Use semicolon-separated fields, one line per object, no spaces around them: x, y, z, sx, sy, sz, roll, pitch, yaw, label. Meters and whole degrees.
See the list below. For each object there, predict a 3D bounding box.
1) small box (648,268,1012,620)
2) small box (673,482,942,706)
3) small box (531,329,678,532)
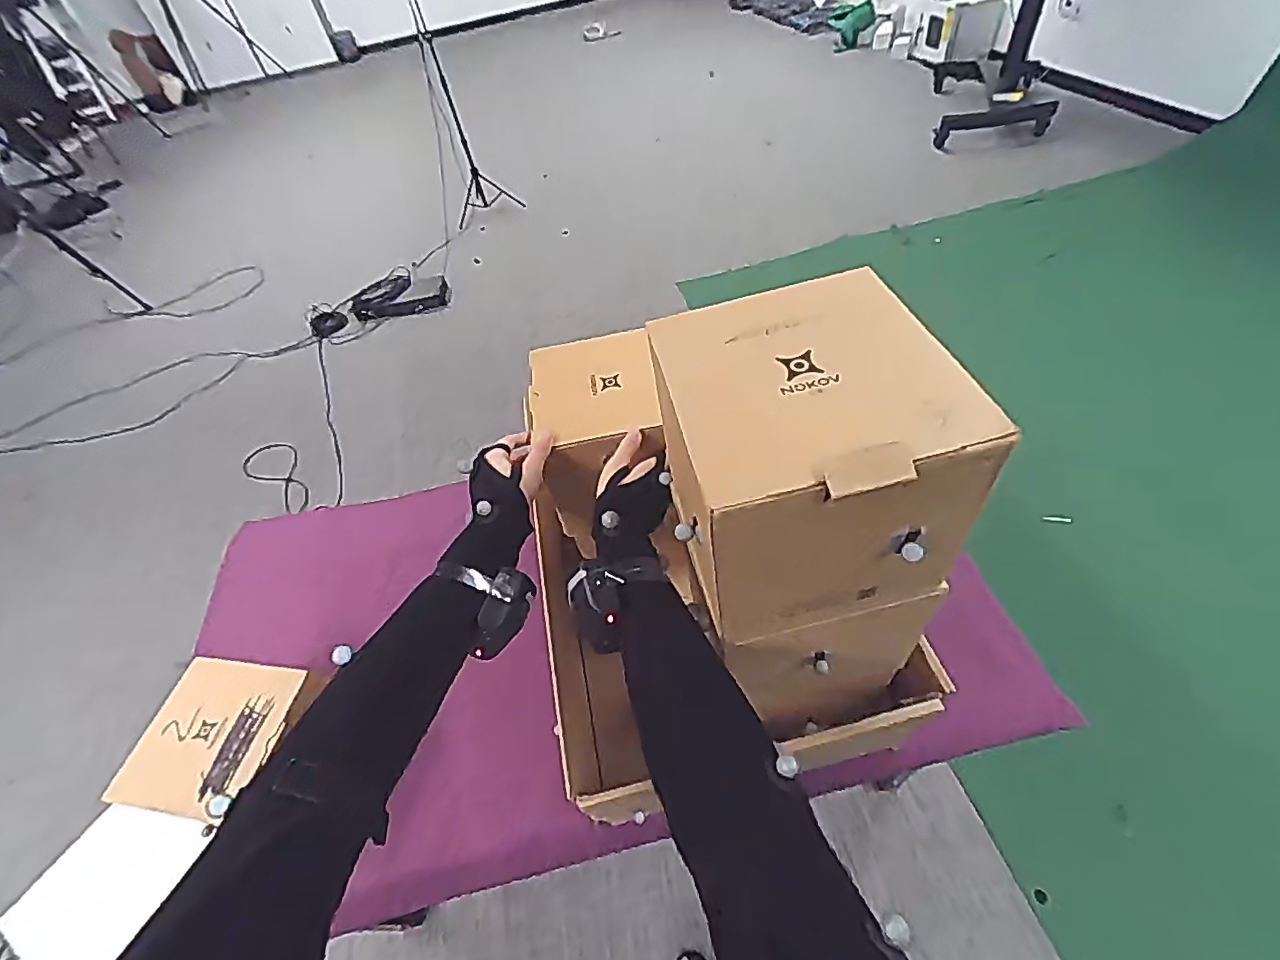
0.111;-0.016;0.389;0.168;0.176;0.179;-14;49;0;small box
0.140;0.091;0.510;0.179;0.176;0.168;-15;50;1;small box
-0.025;-0.058;0.665;0.179;0.176;0.168;-12;51;1;small box
